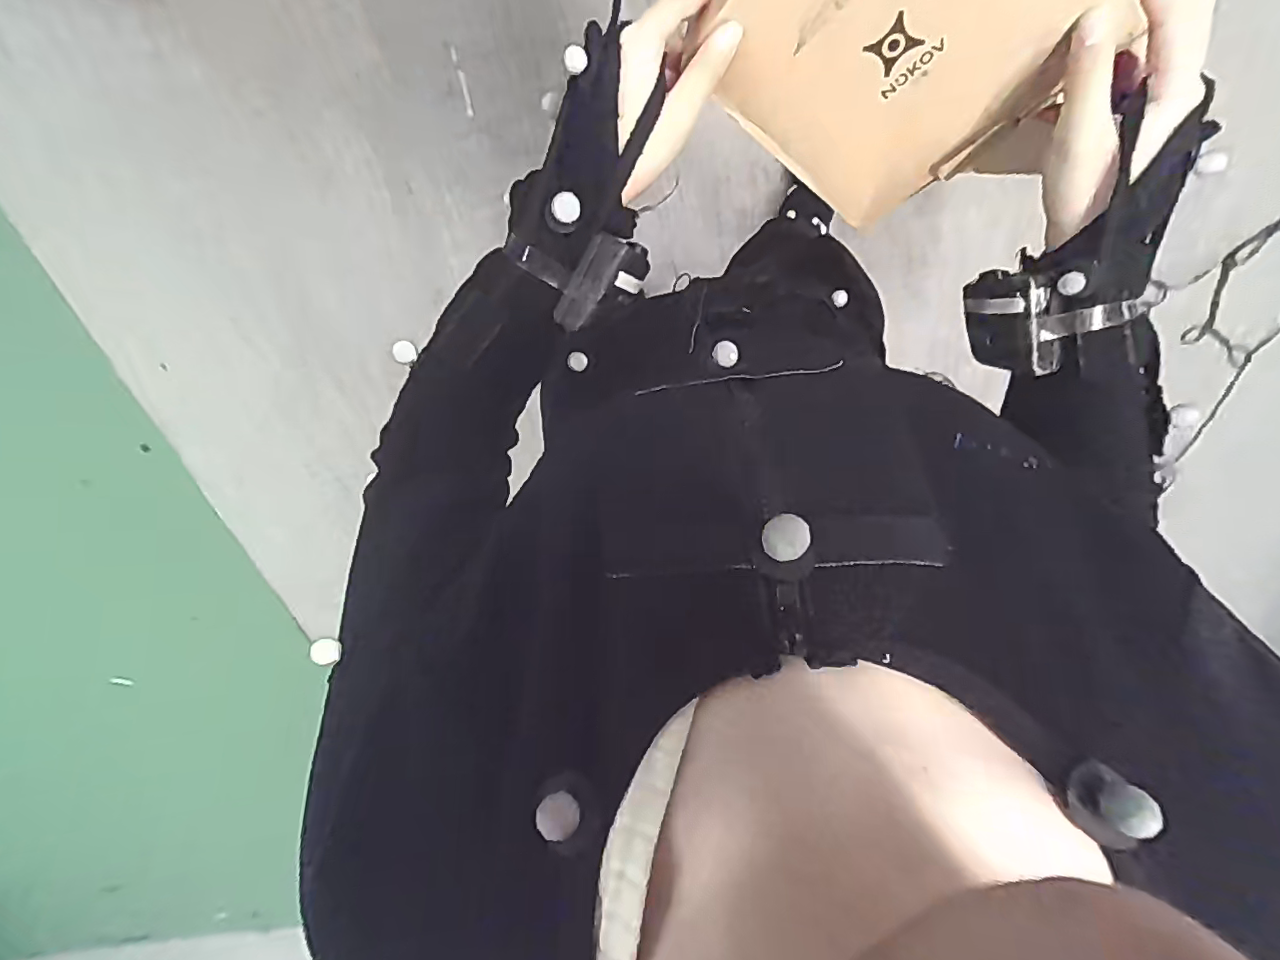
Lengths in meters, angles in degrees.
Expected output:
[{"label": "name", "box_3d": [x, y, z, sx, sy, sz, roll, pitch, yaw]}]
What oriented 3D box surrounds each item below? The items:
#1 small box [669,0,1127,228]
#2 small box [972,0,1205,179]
[{"label": "small box", "box_3d": [0.140, -0.305, 0.325, 0.179, 0.176, 0.168, 22, 150, -28]}, {"label": "small box", "box_3d": [0.565, -0.516, 0.710, 0.168, 0.176, 0.179, -15, 119, 5]}]
